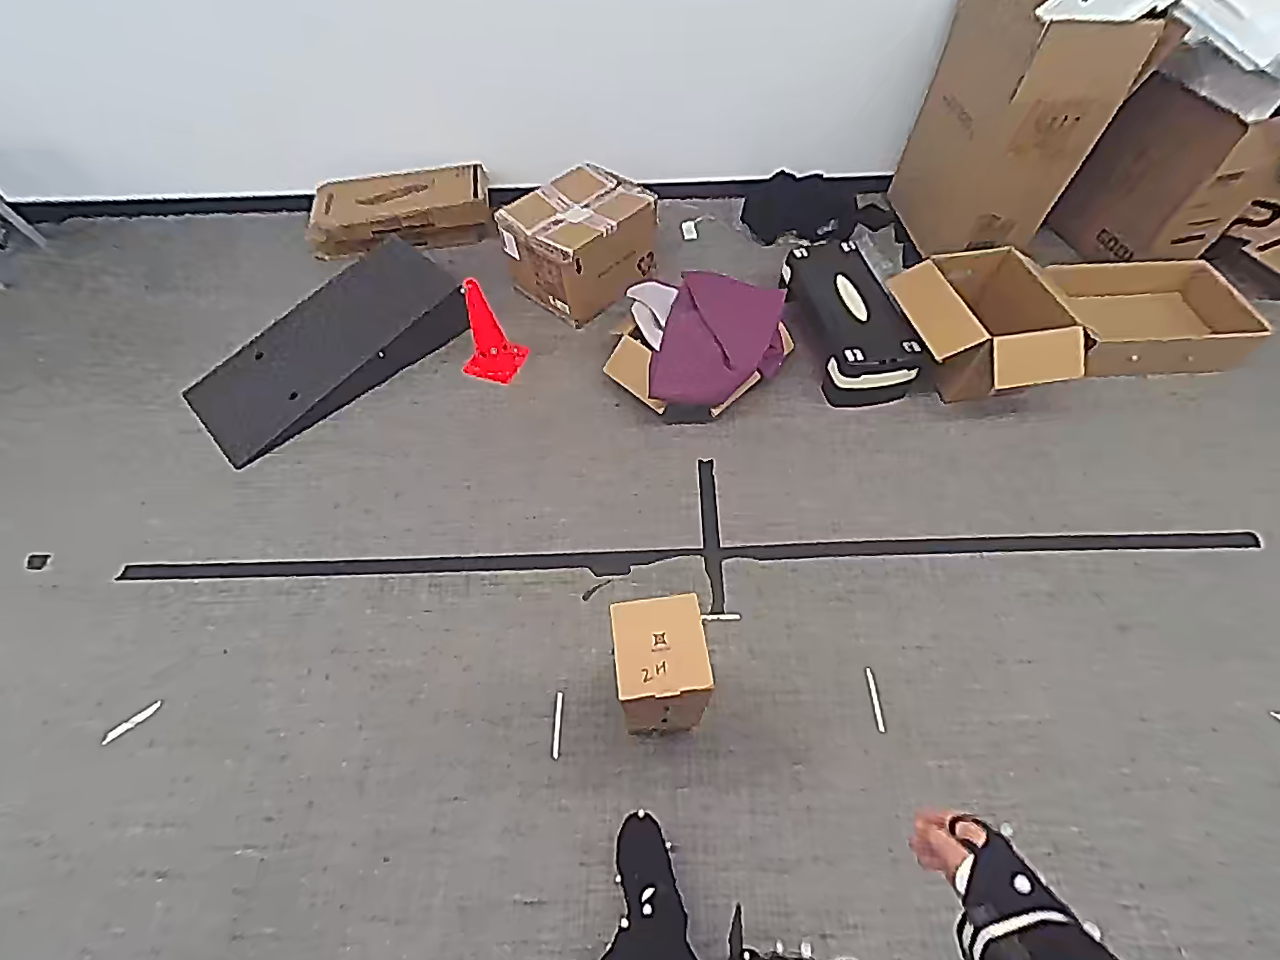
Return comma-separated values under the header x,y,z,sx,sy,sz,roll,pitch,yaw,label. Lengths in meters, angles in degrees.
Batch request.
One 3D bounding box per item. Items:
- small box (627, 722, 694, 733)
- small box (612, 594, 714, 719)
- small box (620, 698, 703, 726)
x,y,z,sx,sy,sz,roll,pitch,yaw,label
0.045,0.504,1.312,0.168,0.176,0.179,-4,58,1,small box
0.039,0.337,1.027,0.168,0.176,0.179,-8,57,-2,small box
0.045,0.427,1.166,0.168,0.176,0.179,-3,57,1,small box
